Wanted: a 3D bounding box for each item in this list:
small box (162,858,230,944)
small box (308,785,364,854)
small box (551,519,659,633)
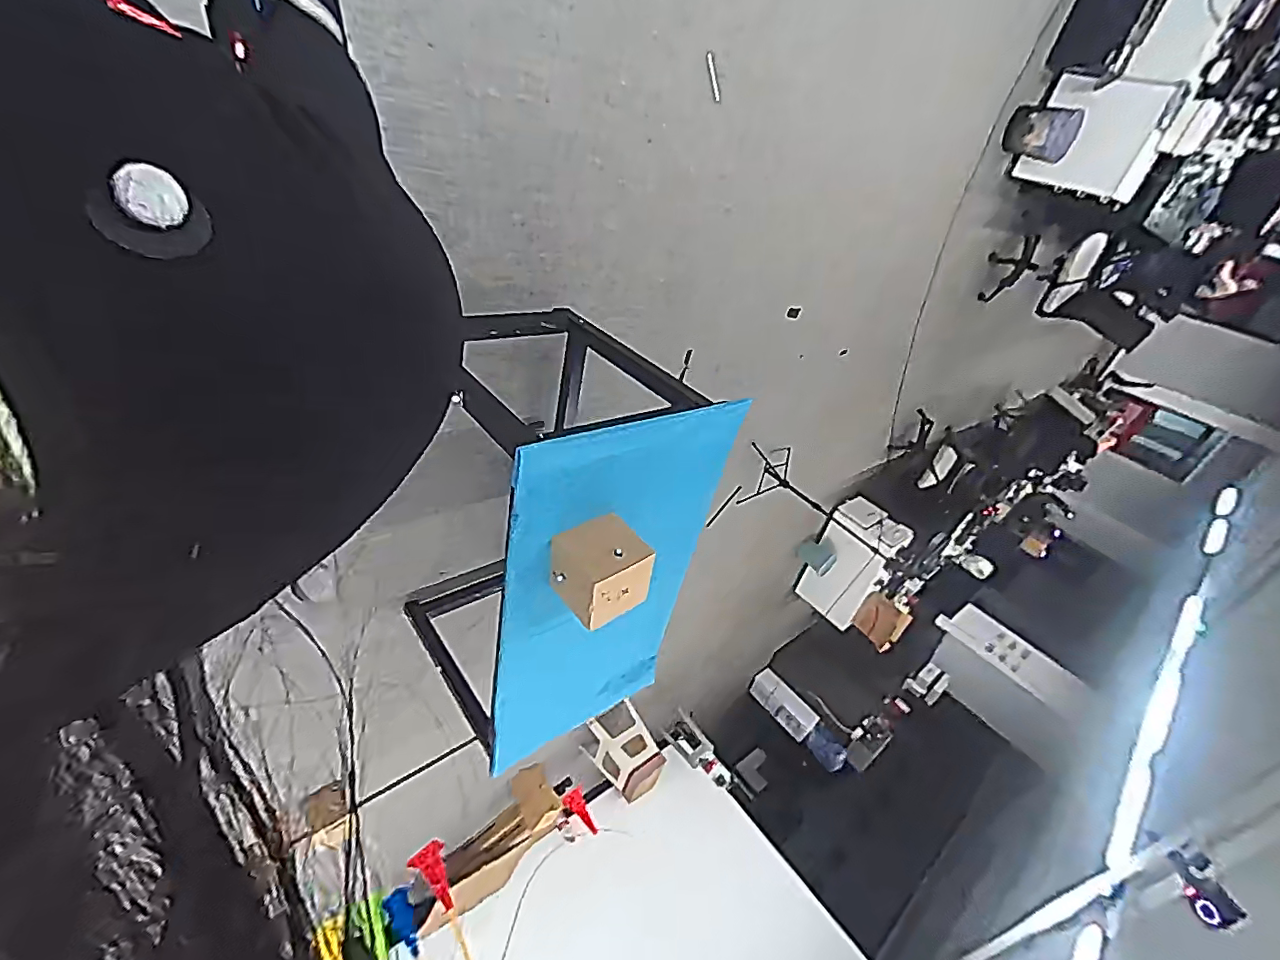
[{"bbox_3d":[-1.713,1.614,2.084,0.179,0.176,0.168,2,122,-47],"label":"small box"},{"bbox_3d":[-1.332,1.476,2.366,0.168,0.176,0.179,-18,136,-37],"label":"small box"},{"bbox_3d":[-0.086,0.216,1.268,0.179,0.176,0.168,-17,133,-35],"label":"small box"}]
